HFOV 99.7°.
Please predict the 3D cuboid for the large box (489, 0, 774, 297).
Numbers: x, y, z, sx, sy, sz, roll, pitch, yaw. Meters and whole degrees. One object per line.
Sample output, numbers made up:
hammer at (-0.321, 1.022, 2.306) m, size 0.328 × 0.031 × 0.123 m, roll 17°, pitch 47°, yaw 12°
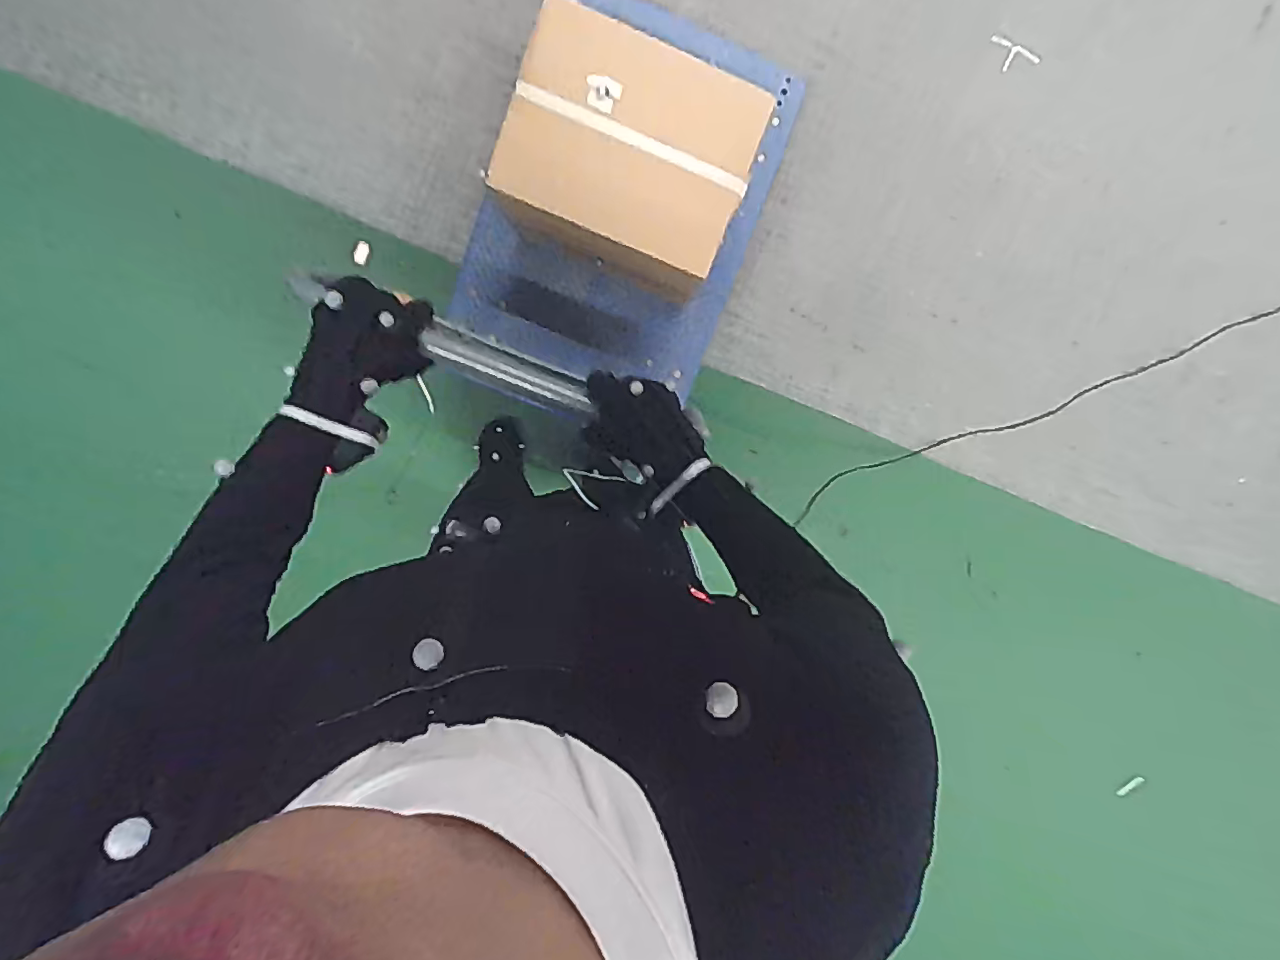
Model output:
large box at (-0.016, -0.592, 1.040) m, size 0.408 × 0.320 × 0.320 m, roll 21°, pitch 97°, yaw -4°
